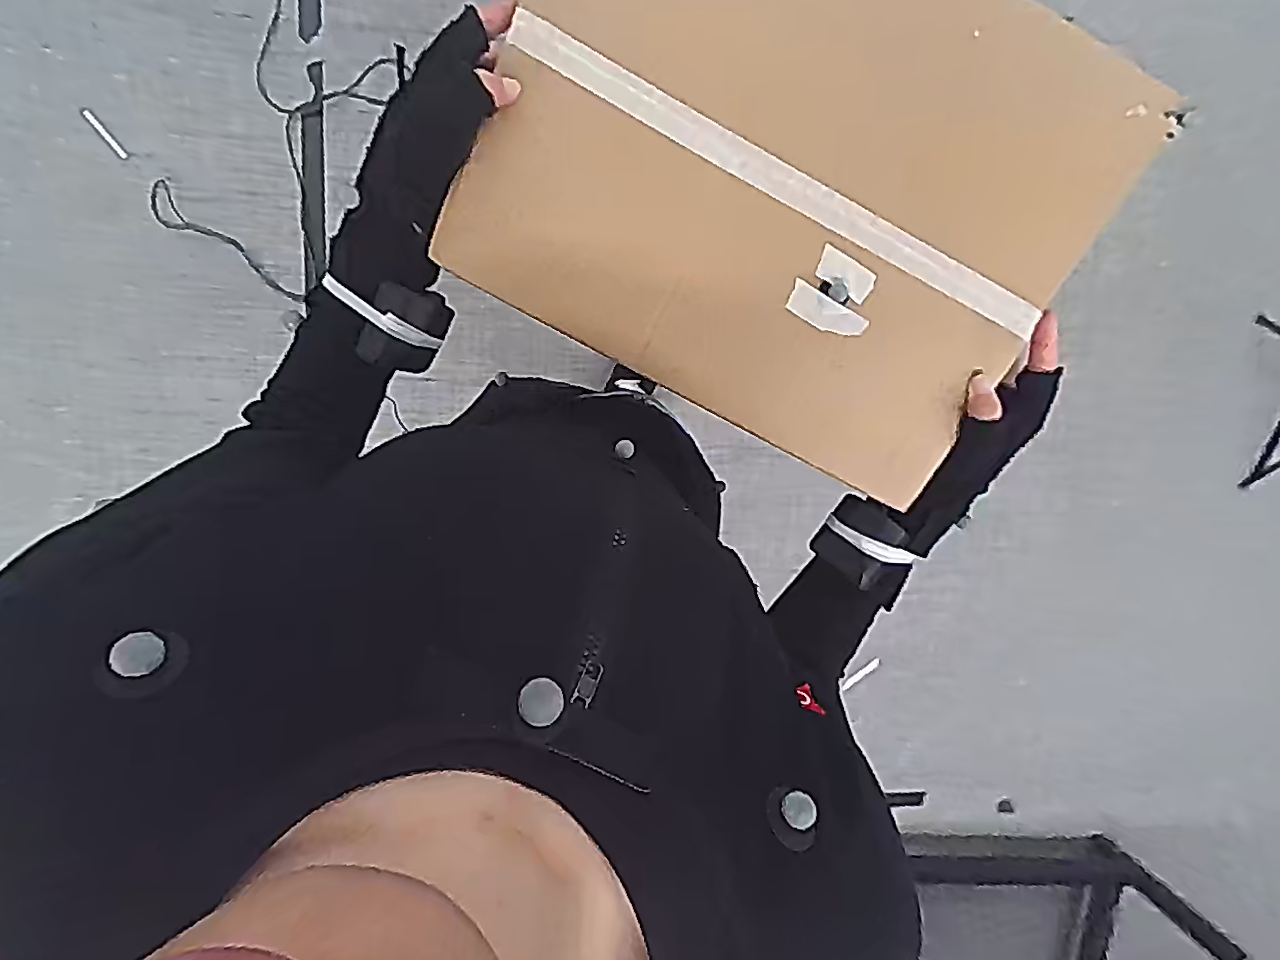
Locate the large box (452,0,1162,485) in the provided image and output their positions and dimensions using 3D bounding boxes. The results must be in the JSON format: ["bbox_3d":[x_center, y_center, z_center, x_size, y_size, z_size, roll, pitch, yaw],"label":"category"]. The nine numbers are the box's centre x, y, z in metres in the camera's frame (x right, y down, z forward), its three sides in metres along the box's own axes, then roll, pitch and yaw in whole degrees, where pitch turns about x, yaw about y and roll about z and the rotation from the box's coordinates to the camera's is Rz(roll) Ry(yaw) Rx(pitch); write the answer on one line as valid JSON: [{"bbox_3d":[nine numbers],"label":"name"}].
[{"bbox_3d":[0.106,-0.250,0.519,0.408,0.320,0.320,27,106,-6],"label":"large box"}]
